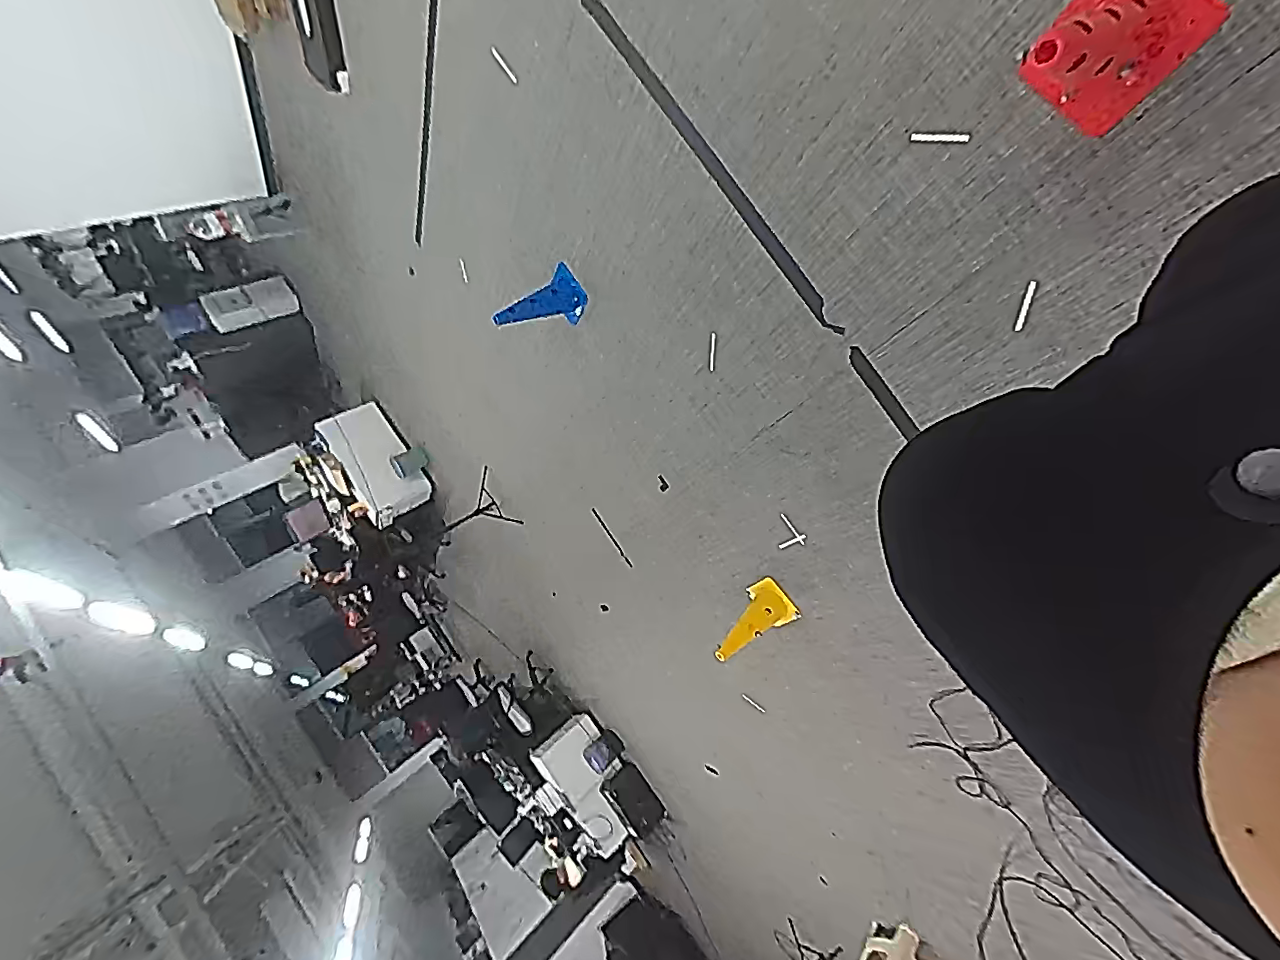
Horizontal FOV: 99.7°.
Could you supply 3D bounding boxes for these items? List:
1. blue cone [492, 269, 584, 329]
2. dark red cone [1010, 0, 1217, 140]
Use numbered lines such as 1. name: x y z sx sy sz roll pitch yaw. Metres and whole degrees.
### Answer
1. blue cone: -0.427 -0.693 2.191 0.193 0.380 0.192 56 149 3
2. dark red cone: 0.628 -0.621 0.784 0.202 0.394 0.201 51 148 10
